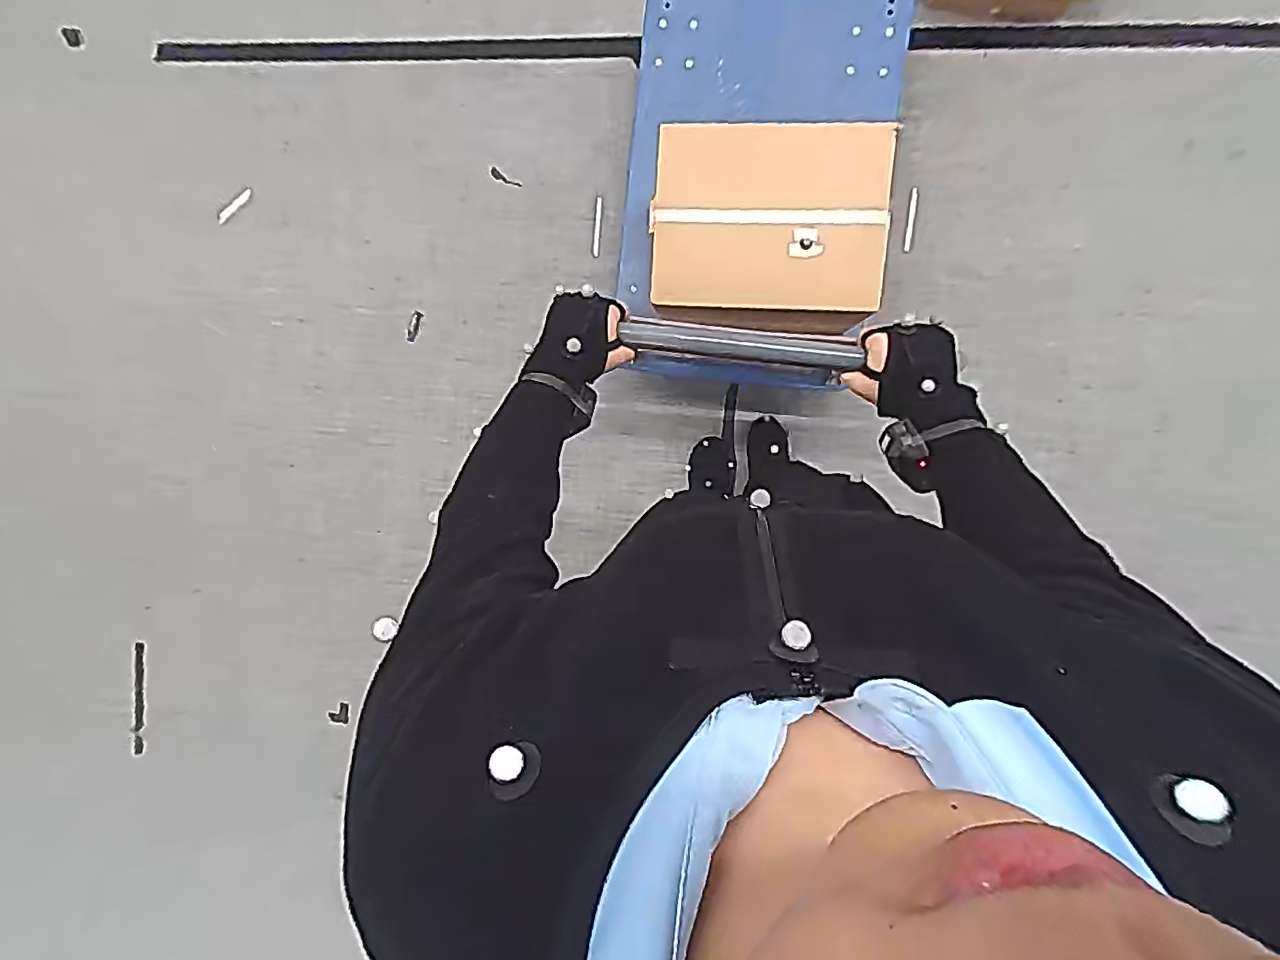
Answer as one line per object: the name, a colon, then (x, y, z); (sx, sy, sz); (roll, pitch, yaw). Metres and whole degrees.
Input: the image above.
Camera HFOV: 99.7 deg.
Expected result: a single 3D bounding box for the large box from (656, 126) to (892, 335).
large box: (0.244, -0.481, 1.110); (0.408, 0.320, 0.320); (4, 97, 6)
